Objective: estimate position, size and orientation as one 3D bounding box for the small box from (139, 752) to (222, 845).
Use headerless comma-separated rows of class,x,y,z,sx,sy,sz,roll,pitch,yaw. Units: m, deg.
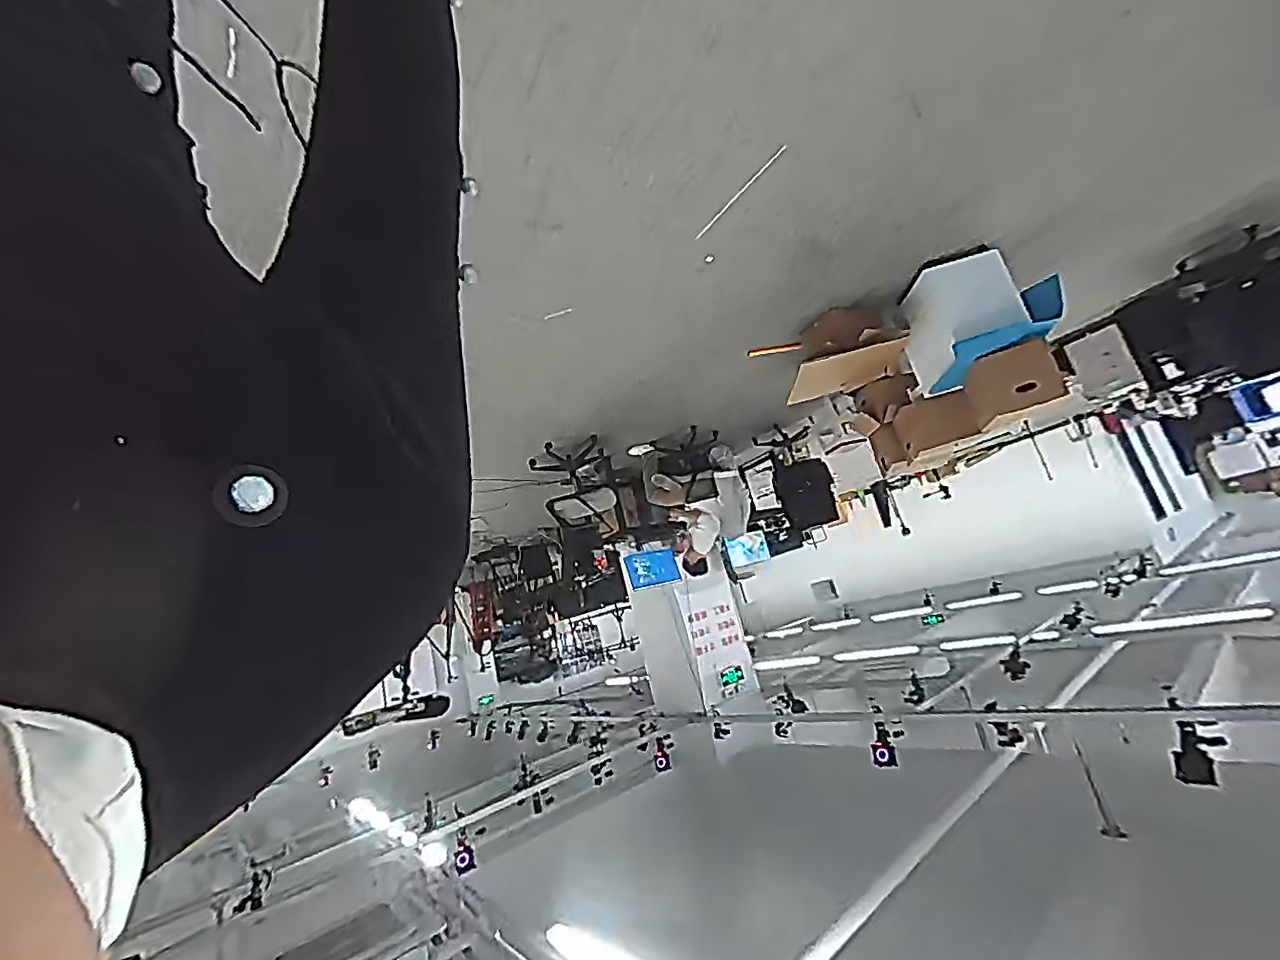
small box,-1.284,0.879,1.512,0.168,0.176,0.179,-3,164,-40
